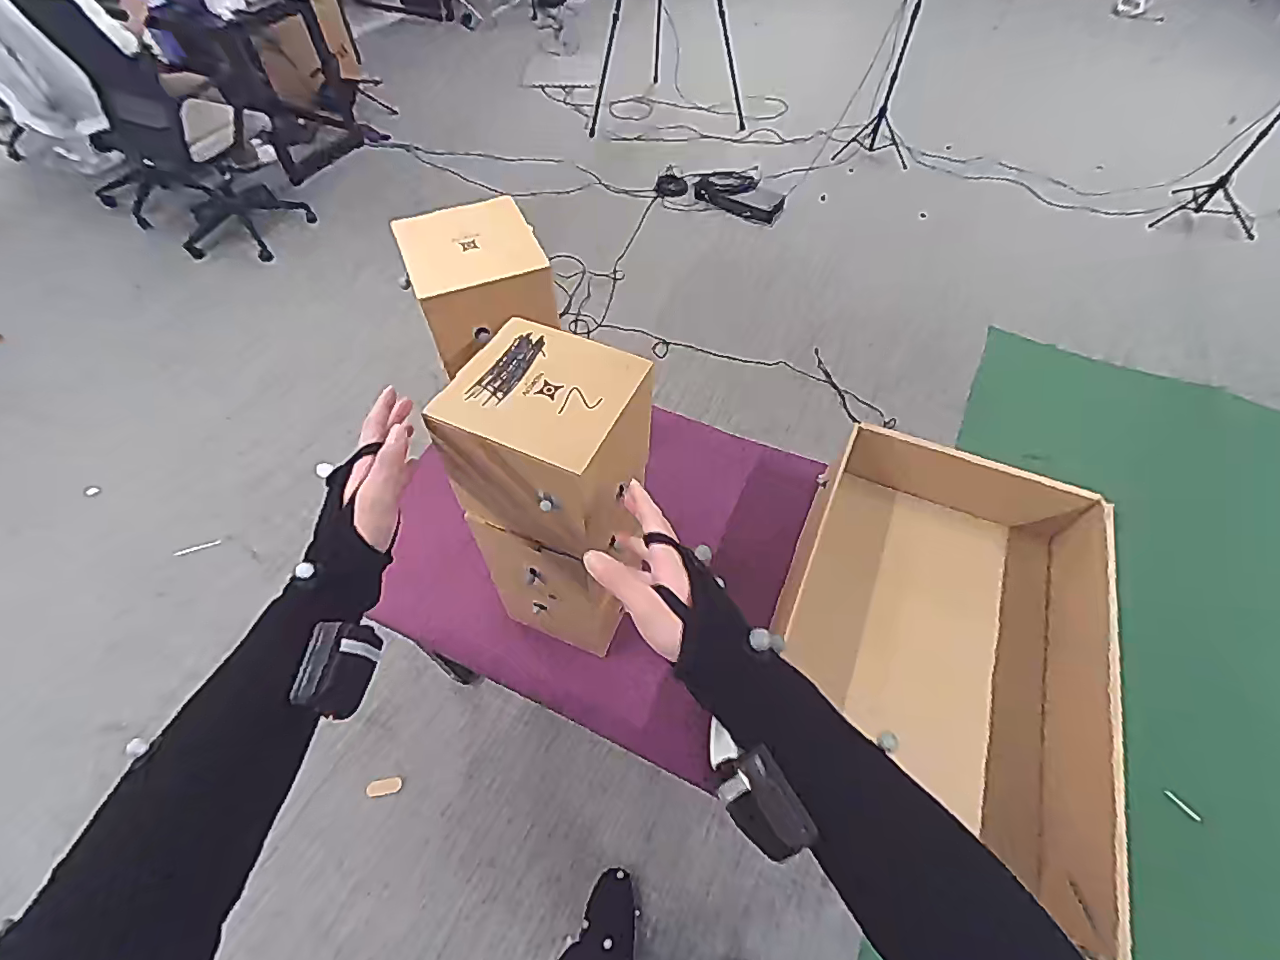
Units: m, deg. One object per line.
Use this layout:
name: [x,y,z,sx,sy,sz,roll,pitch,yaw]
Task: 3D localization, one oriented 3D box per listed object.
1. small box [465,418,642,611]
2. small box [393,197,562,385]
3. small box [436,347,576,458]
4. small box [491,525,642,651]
small box: [-0.103,0.053,0.738,0.168,0.176,0.179,20,57,12]
small box: [-0.217,-0.254,0.753,0.168,0.176,0.179,-20,59,-14]
small box: [-0.216,-0.160,0.885,0.179,0.176,0.168,-18,59,-14]
small box: [-0.108,0.152,0.868,0.179,0.176,0.168,19,56,12]
